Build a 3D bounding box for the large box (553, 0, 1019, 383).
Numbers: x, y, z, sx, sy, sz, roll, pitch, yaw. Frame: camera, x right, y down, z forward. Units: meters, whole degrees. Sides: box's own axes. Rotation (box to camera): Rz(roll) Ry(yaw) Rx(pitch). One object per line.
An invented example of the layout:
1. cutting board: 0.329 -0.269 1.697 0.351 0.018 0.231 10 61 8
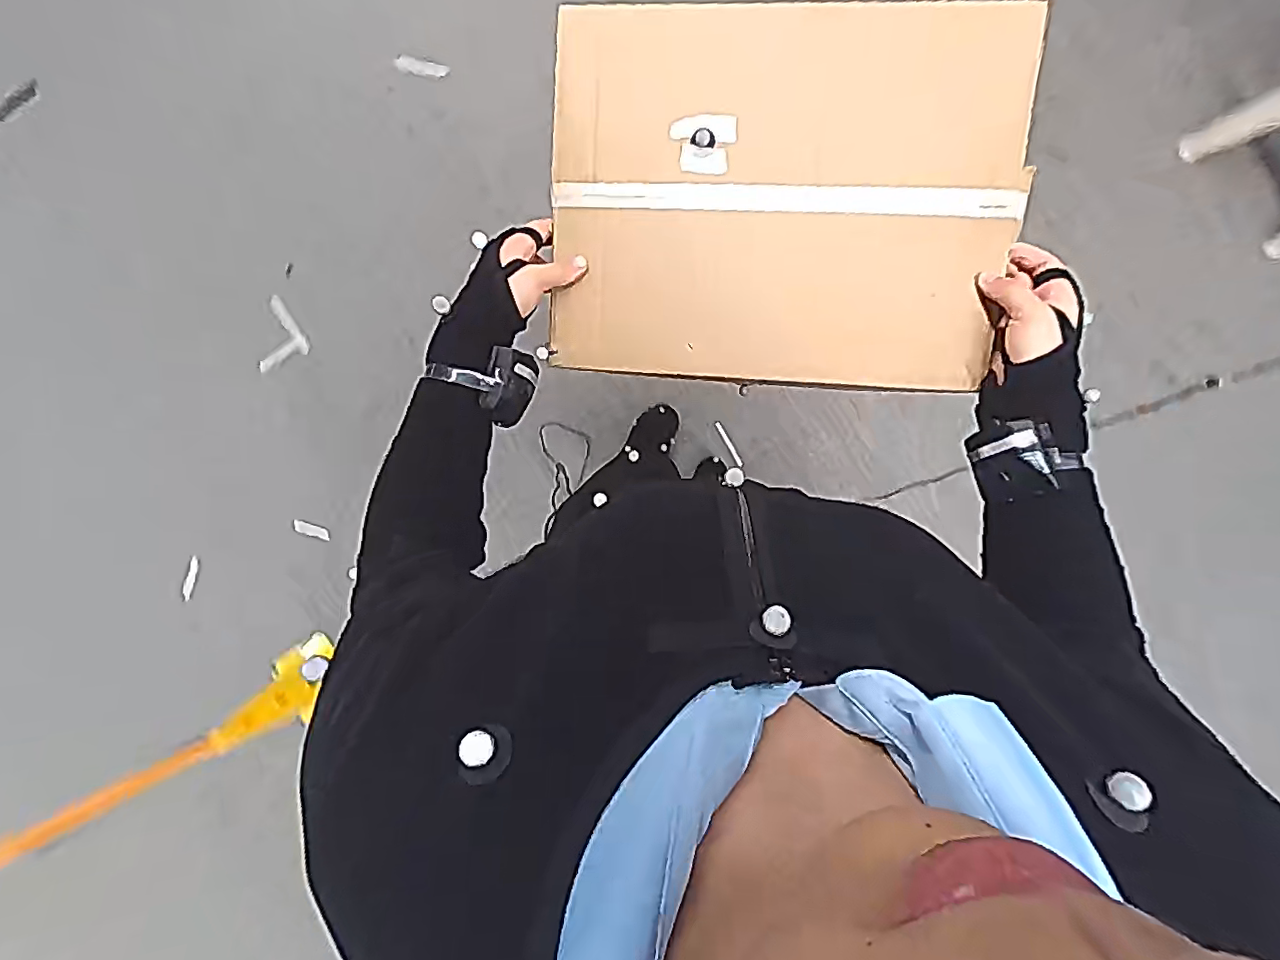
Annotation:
1. large box: 0.135 -0.277 0.639 0.408 0.320 0.320 3 99 8
